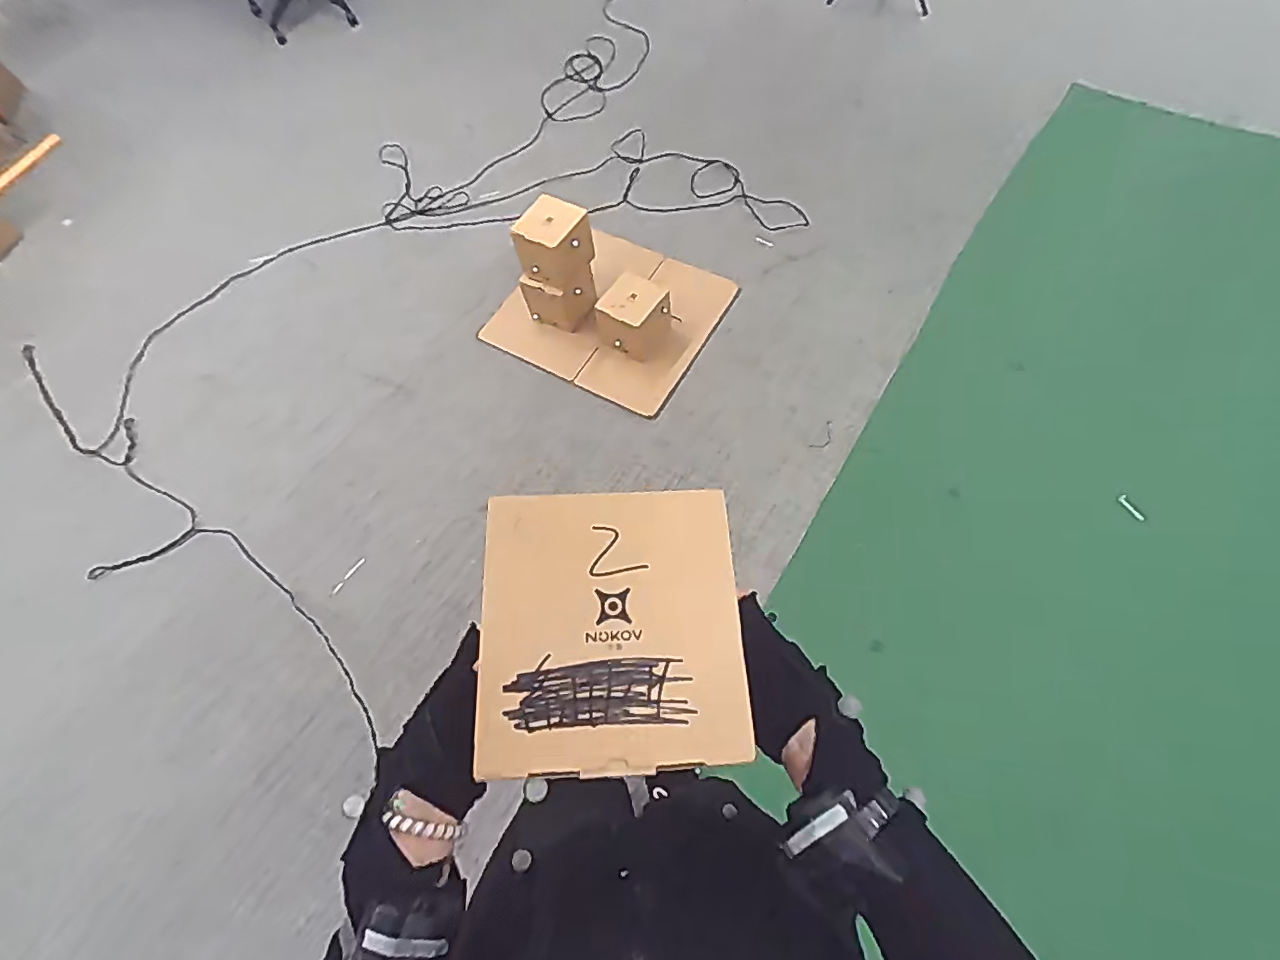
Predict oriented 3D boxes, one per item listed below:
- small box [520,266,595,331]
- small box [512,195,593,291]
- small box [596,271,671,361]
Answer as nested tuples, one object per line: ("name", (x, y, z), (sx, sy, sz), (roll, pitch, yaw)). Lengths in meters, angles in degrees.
("small box", (-0.262, -0.624, 1.777), (0.168, 0.176, 0.179), (25, 69, 15))
("small box", (-0.255, -0.714, 1.638), (0.168, 0.176, 0.179), (28, 70, 16))
("small box", (-0.015, -0.513, 1.708), (0.168, 0.176, 0.179), (31, 72, 18))
